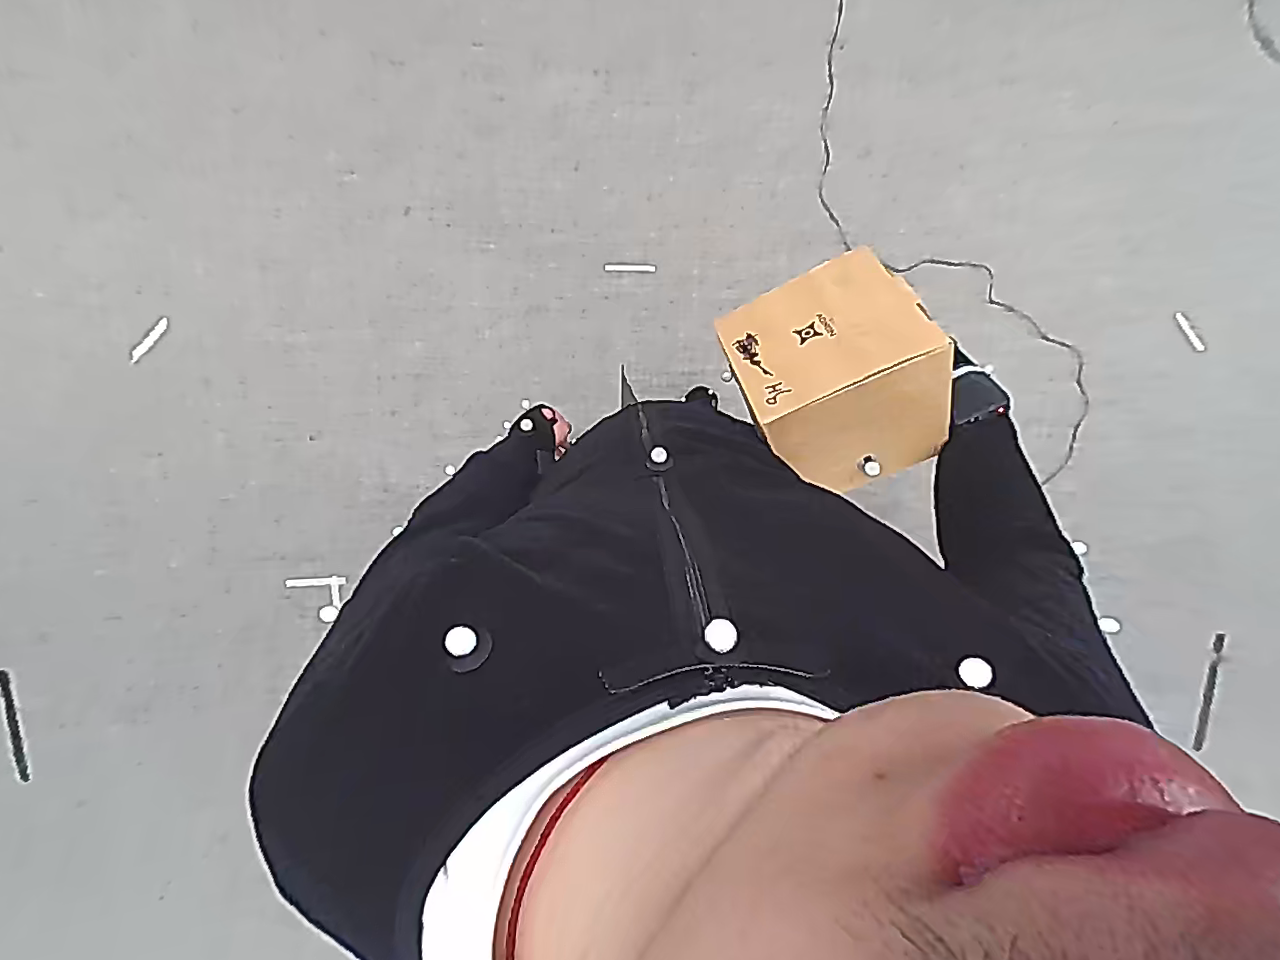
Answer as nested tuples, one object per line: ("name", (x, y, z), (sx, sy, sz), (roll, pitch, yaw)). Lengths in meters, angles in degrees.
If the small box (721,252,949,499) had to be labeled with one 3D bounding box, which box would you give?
("small box", (0.213, -0.108, 0.605), (0.179, 0.168, 0.176), (-24, 140, 11))
